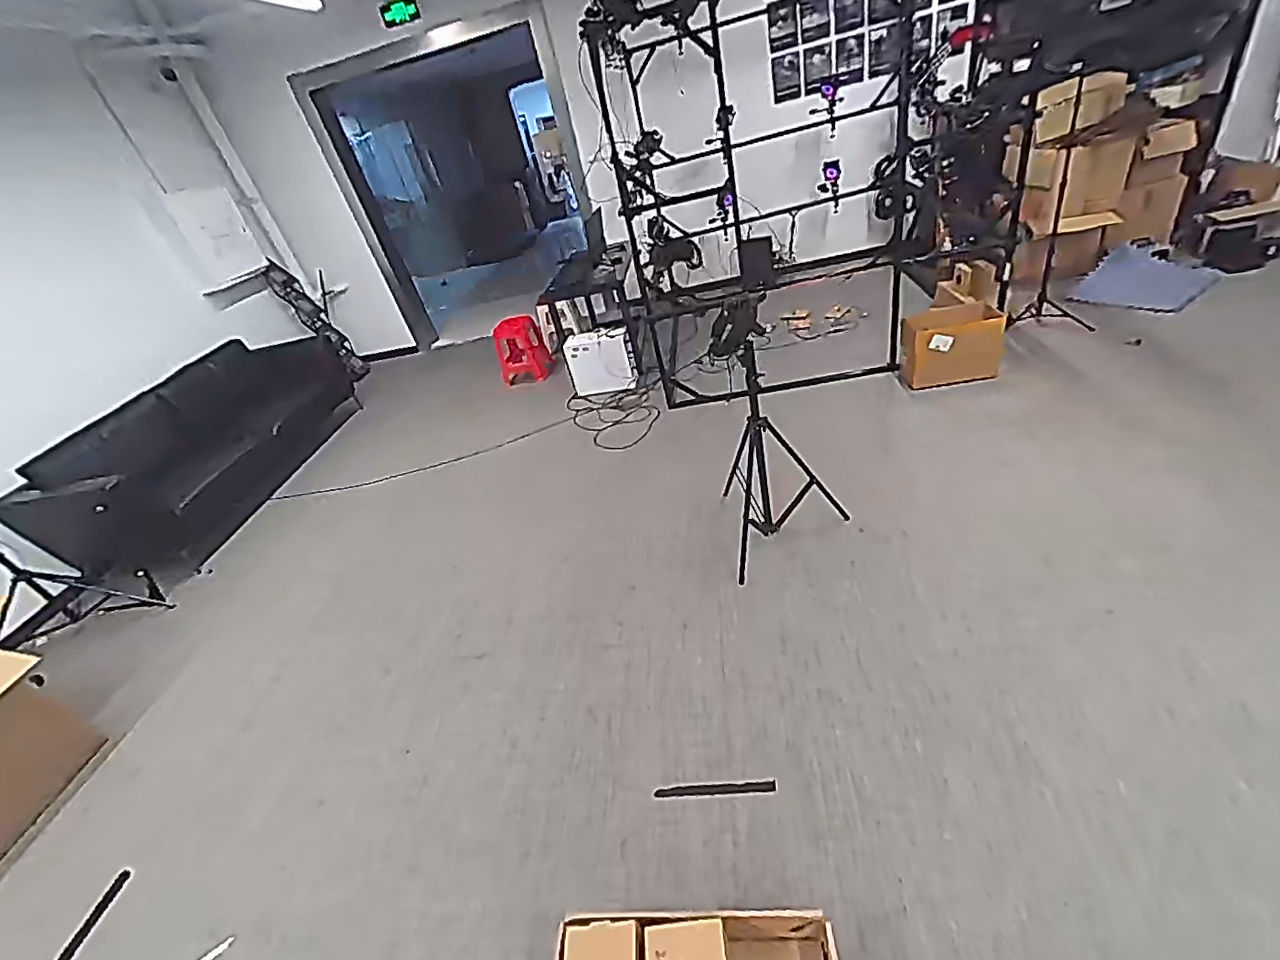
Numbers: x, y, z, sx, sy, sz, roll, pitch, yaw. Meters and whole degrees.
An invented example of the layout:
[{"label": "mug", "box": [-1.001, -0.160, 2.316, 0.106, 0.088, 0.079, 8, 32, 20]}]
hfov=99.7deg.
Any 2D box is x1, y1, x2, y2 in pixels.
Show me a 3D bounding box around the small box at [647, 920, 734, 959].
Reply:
[{"label": "small box", "box": [0.118, 1.085, 1.168, 0.179, 0.176, 0.168, -11, 35, 6]}]
